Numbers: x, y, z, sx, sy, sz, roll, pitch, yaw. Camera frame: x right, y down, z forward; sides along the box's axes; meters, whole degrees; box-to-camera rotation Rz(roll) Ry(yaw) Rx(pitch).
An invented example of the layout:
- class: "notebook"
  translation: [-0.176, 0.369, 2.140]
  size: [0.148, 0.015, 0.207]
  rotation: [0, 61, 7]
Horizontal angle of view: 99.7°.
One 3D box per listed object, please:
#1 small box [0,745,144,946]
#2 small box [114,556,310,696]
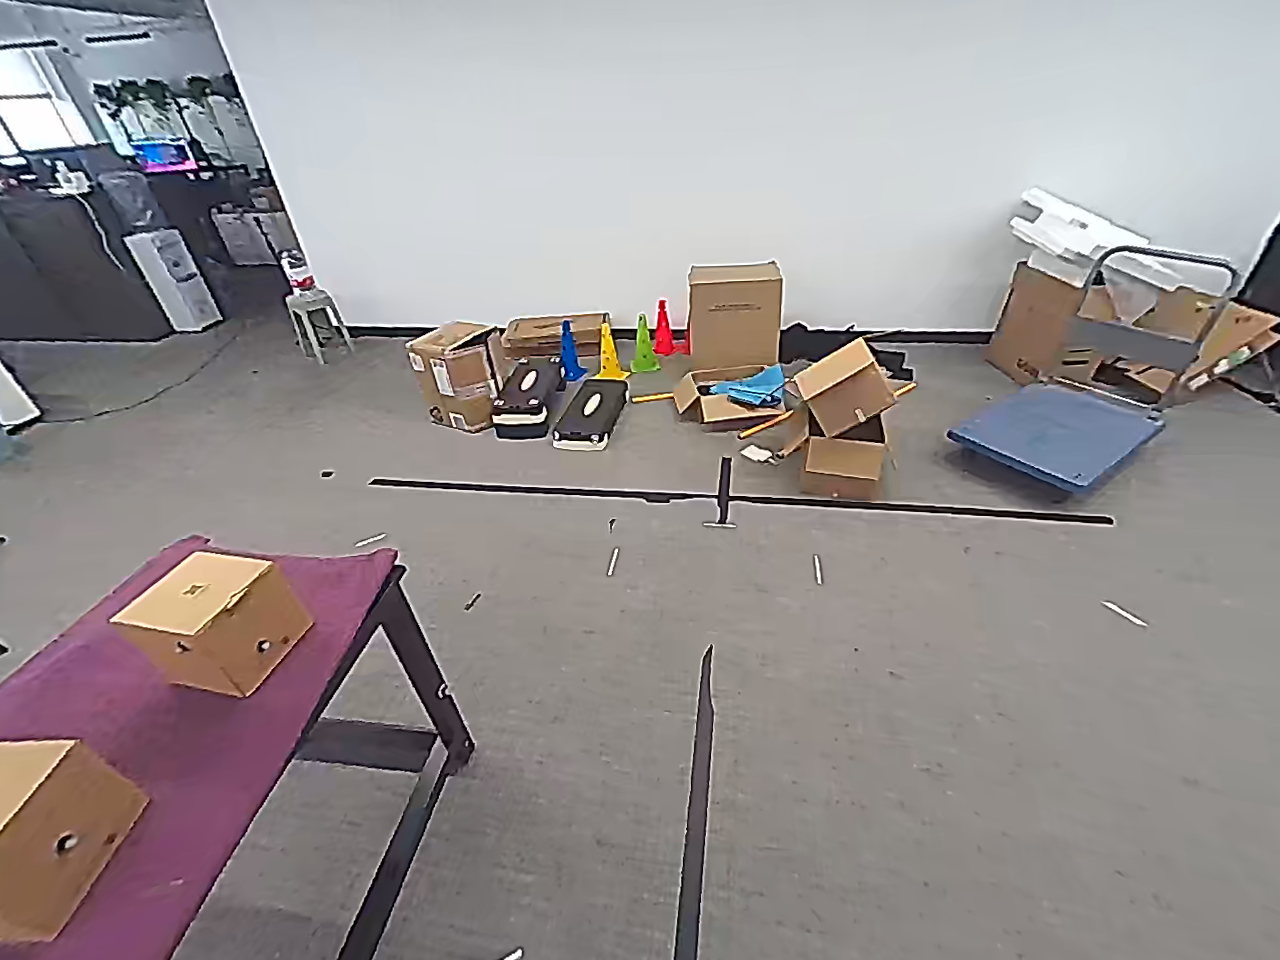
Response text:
- class: "small box"
  translation: [-0.800, 0.457, 0.679]
  size: [0.179, 0.176, 0.168]
  rotation: [-3, 35, 2]
- class: "small box"
  translation: [-0.737, 0.256, 0.953]
  size: [0.179, 0.176, 0.168]
  rotation: [4, 37, 13]
